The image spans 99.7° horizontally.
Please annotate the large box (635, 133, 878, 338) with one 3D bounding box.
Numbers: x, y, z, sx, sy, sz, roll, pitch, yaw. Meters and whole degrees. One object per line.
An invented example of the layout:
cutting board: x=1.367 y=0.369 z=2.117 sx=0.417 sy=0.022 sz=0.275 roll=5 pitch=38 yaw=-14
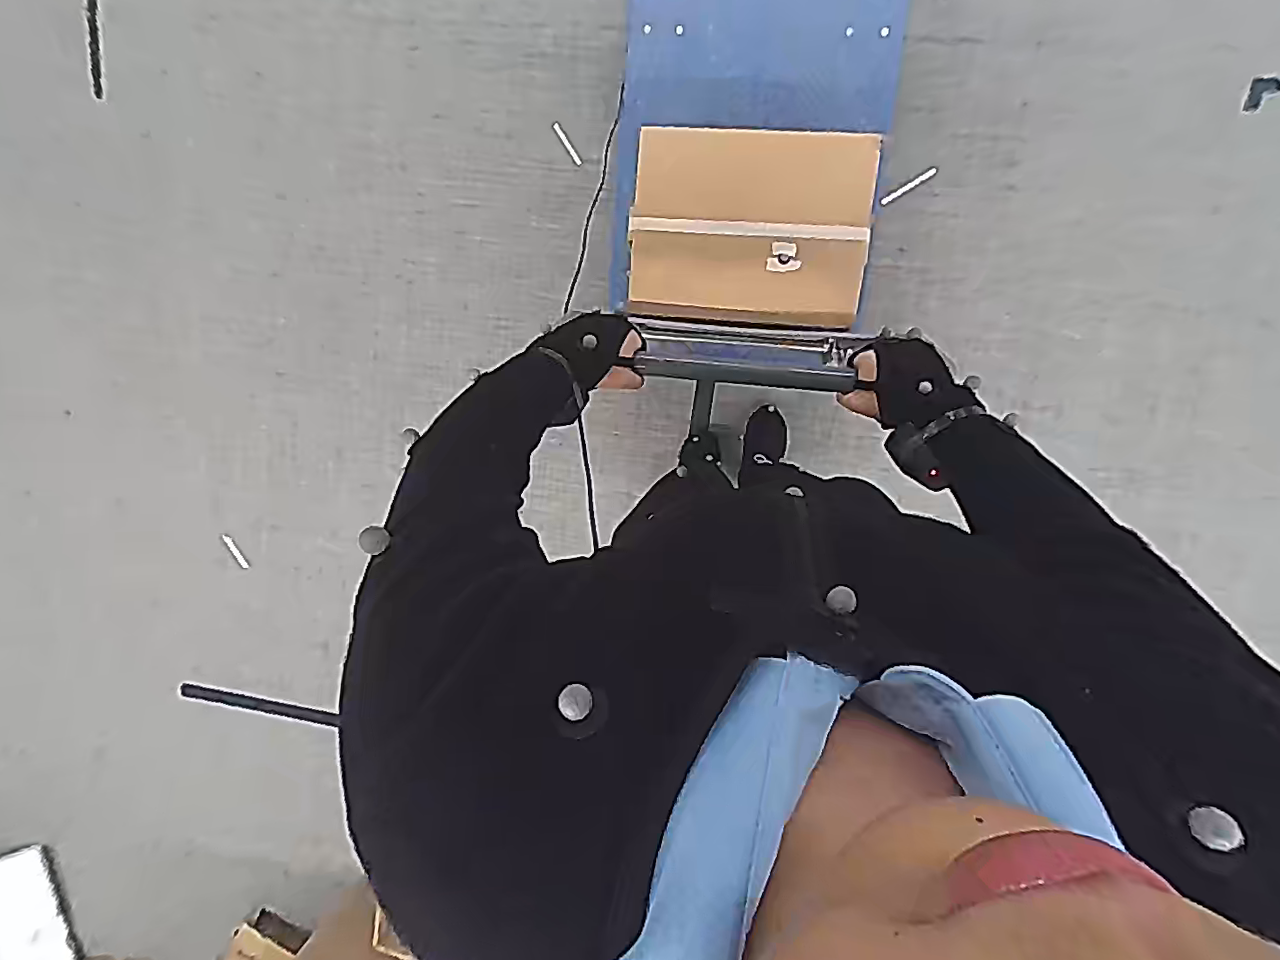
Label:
large box: x=0.209 y=-0.468 z=1.100 sx=0.408 sy=0.320 sz=0.320 roll=6 pitch=102 yaw=5
